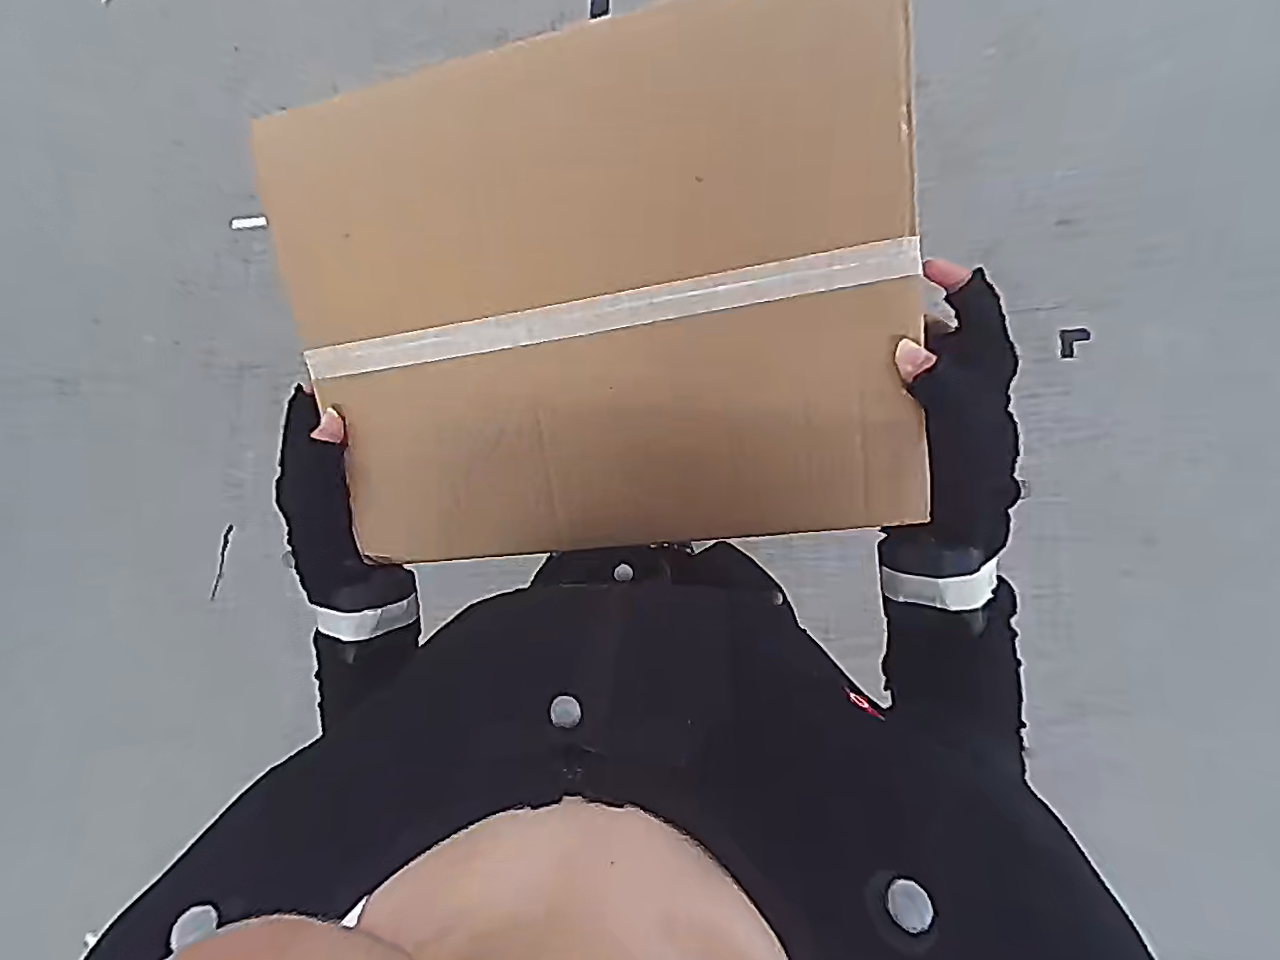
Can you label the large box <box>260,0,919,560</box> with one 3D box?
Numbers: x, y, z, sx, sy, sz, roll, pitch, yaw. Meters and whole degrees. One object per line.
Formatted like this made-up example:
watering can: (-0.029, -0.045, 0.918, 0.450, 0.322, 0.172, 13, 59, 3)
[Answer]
large box: (-0.011, -0.145, 0.492, 0.408, 0.320, 0.320, -7, 102, 13)
